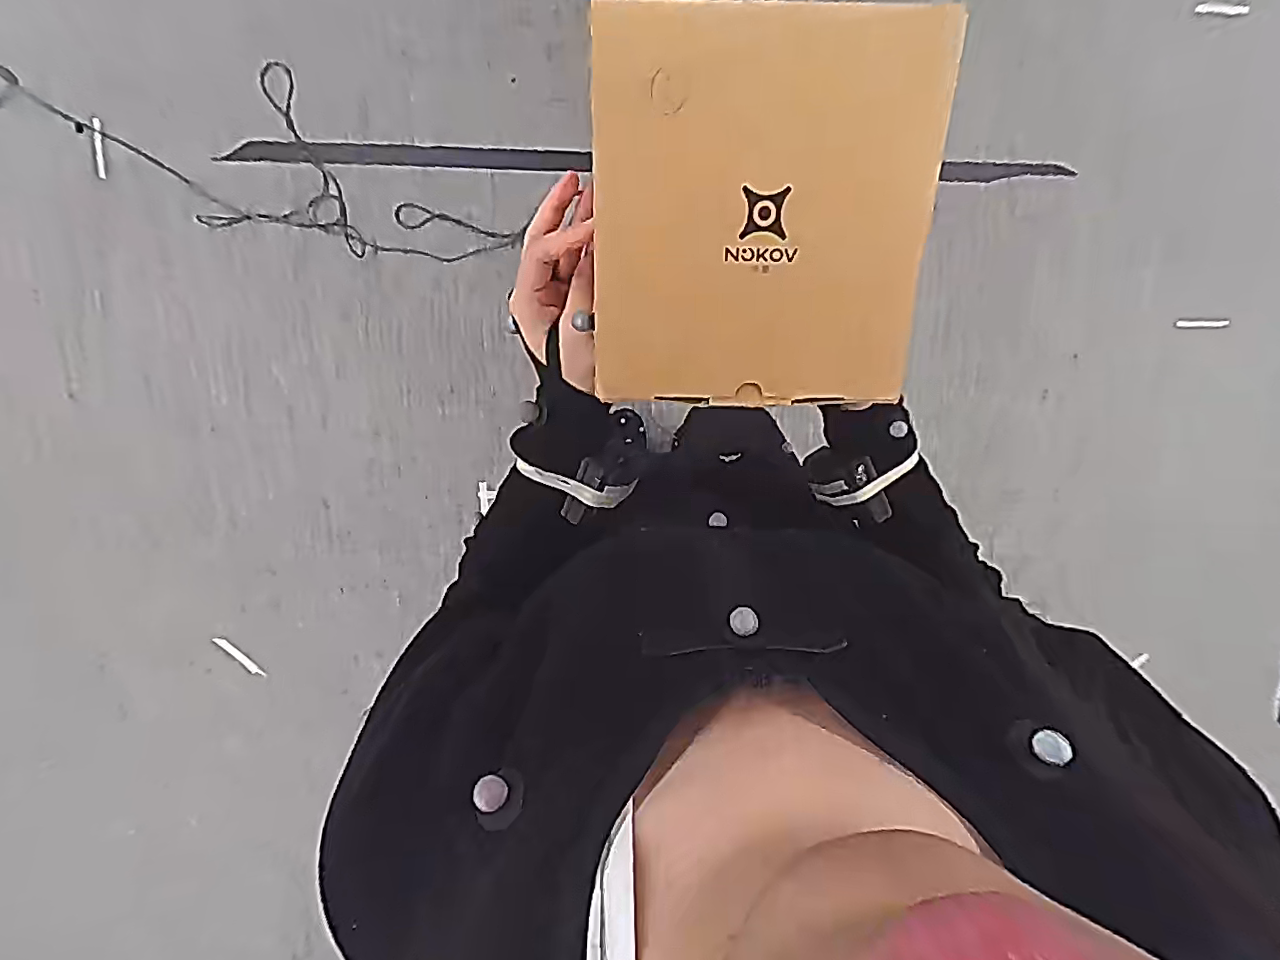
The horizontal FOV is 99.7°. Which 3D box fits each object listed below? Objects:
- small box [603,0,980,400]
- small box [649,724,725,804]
[{"bbox_3d":[0.061,-0.151,0.330,0.168,0.176,0.179,0,110,-2],"label":"small box"},{"bbox_3d":[0.125,0.804,1.499,0.179,0.176,0.168,-7,97,-3],"label":"small box"}]
